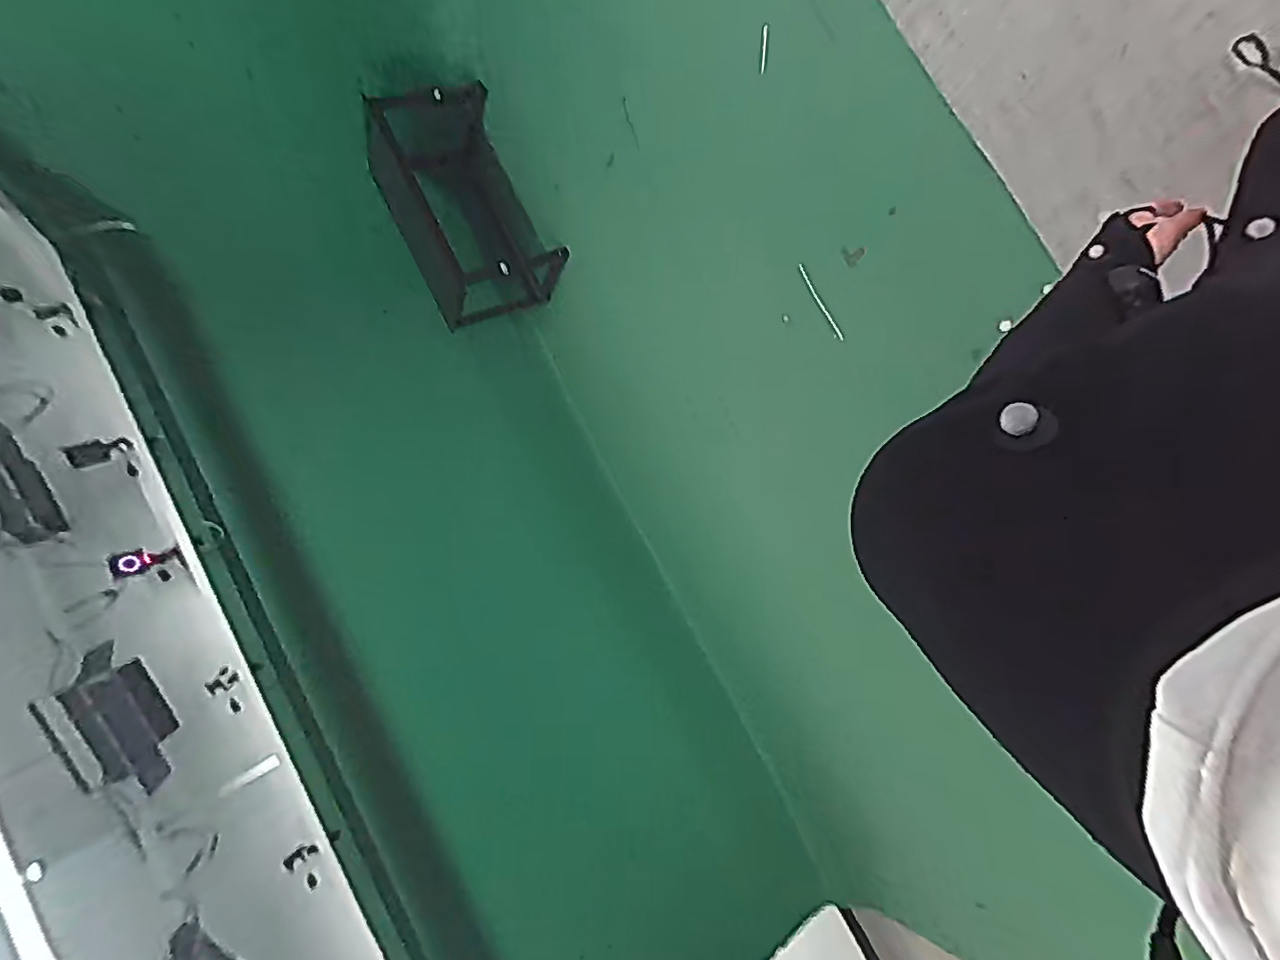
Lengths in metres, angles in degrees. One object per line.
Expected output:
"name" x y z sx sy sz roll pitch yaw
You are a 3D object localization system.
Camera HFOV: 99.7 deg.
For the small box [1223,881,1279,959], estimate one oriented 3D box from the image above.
"small box" 0.989 0.720 0.749 0.179 0.176 0.168 61 153 5
